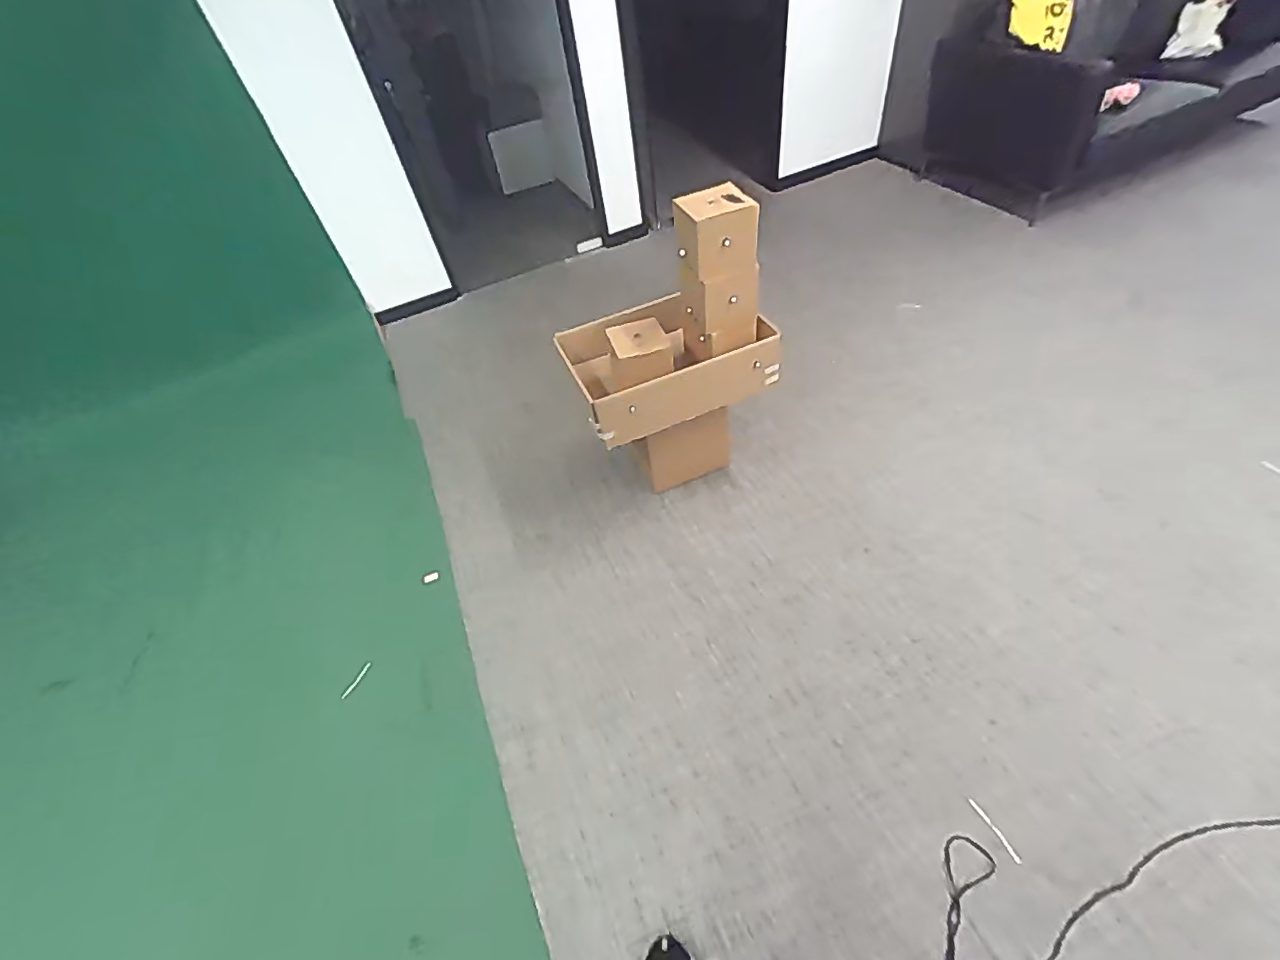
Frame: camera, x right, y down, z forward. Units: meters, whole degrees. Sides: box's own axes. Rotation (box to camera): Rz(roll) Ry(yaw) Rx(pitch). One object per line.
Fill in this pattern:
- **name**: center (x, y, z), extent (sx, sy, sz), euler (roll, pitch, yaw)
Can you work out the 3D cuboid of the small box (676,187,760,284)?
- **small box**: center (0.211, -0.667, 1.480), extent (0.179, 0.176, 0.168), euler (-20, 48, -7)
